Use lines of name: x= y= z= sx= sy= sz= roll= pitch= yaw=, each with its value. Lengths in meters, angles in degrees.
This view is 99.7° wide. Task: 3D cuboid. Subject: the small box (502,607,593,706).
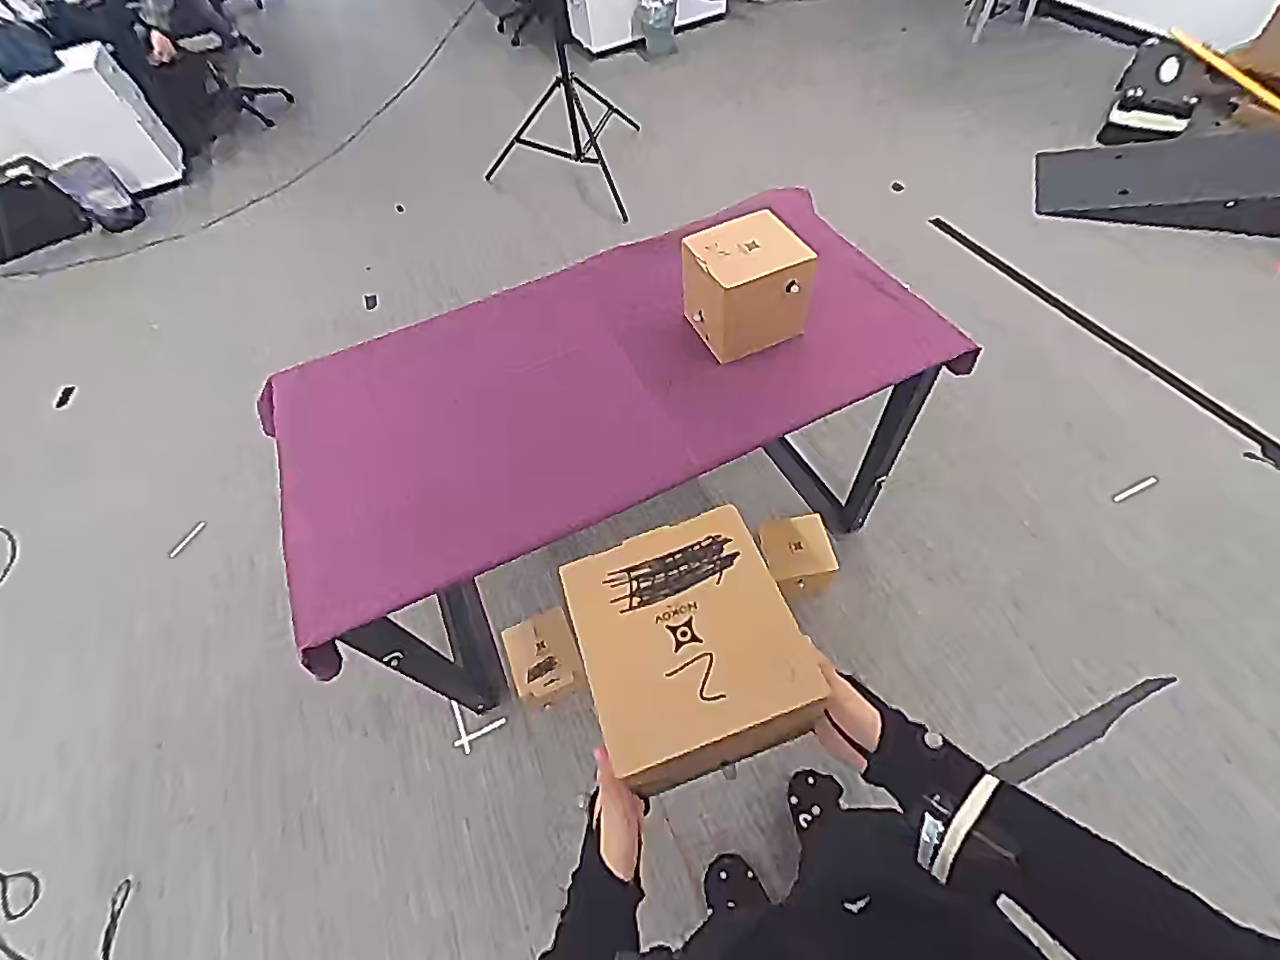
small box: x=-0.231 y=0.458 z=1.385 sx=0.168 sy=0.176 sz=0.179 roll=-23 pitch=56 yaw=-8

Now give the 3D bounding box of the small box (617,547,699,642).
small box: x=0.052 y=0.314 z=1.449 sx=0.168 sy=0.176 sz=0.179 roll=-22 pitch=56 yaw=-9

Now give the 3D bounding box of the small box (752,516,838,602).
small box: x=0.412 y=0.218 z=1.470 sx=0.179 sy=0.176 sz=0.168 roll=-10 pitch=57 yaw=2

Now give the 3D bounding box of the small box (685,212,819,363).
small box: x=0.194 y=-0.346 z=0.986 sx=0.179 sy=0.176 sz=0.168 roll=-22 pitch=56 yaw=-7
